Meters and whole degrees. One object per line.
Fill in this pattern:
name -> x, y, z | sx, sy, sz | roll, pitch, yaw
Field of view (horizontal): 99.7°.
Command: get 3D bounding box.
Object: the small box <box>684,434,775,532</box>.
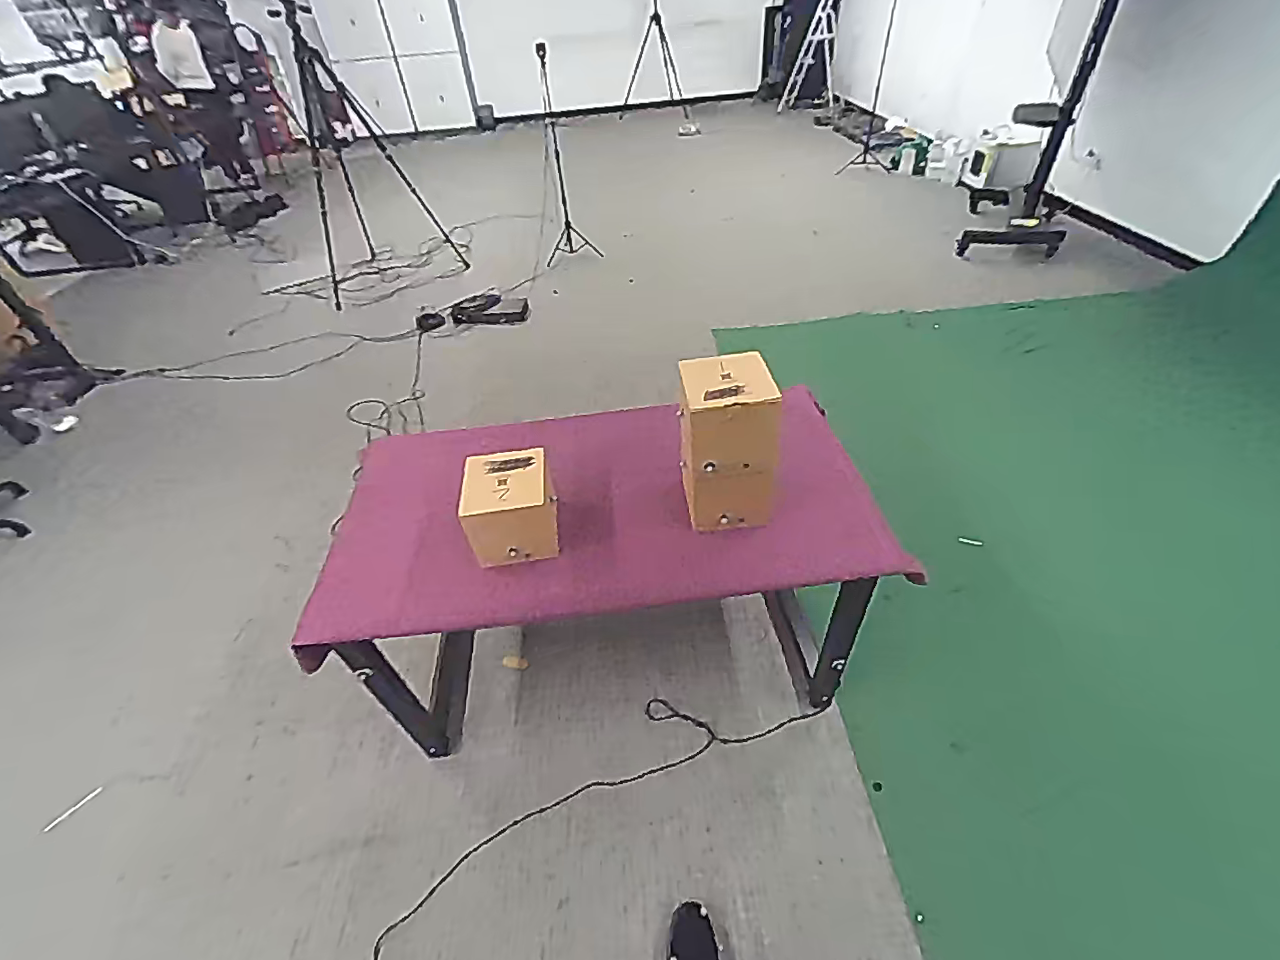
small box -> 0.185, -0.011, 1.171 | 0.168, 0.176, 0.179 | -7, 43, 1

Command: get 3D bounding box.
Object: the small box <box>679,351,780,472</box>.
small box -> 0.171, -0.128, 1.058 | 0.168, 0.176, 0.179 | -7, 41, 1
